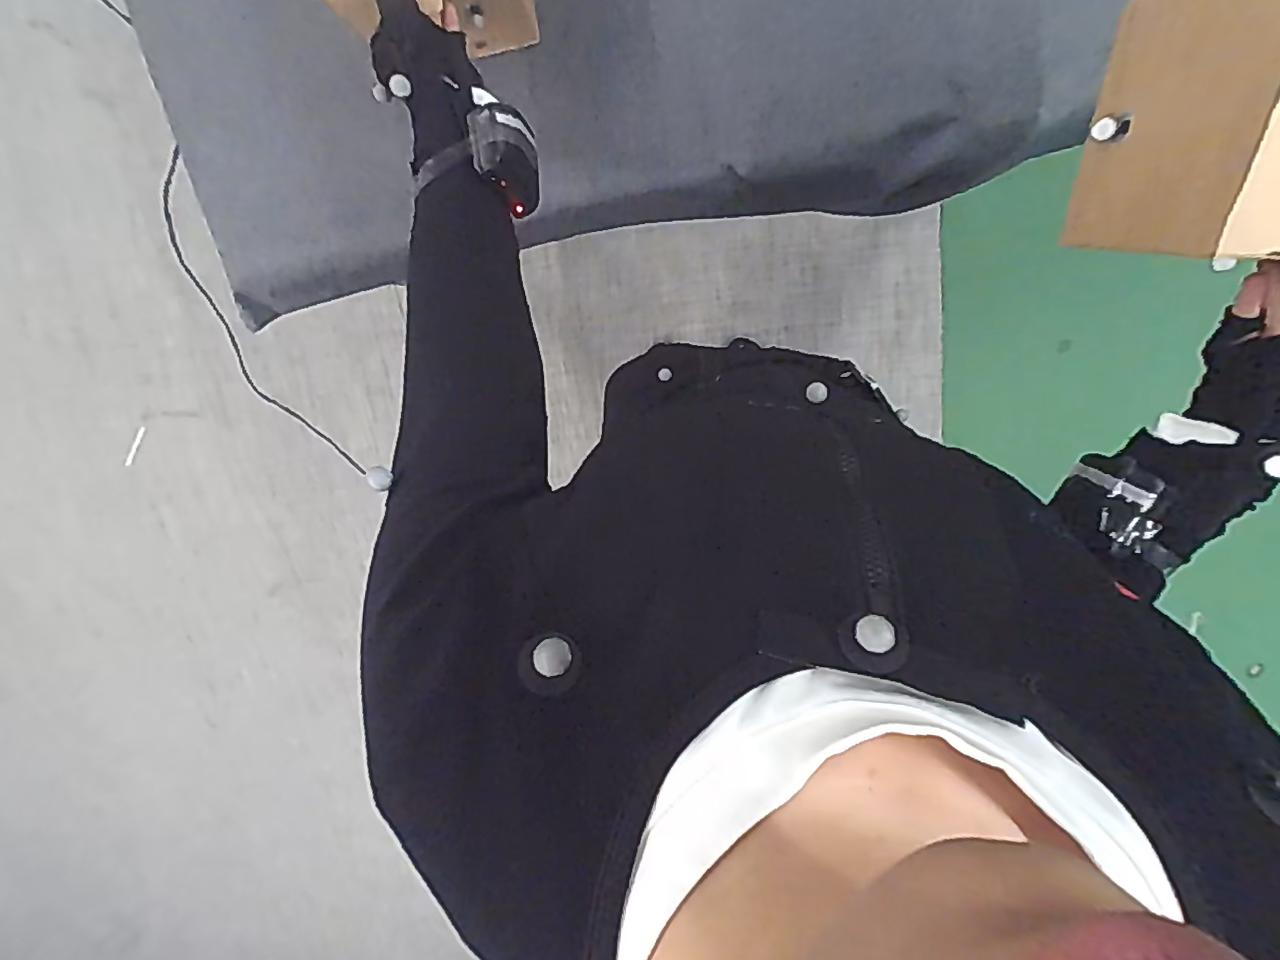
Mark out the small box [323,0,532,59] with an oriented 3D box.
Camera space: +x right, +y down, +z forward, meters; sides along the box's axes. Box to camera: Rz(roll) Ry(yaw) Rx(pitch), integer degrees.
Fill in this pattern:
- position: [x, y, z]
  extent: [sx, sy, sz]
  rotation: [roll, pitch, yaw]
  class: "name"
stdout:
- position: [-0.210, -0.529, 0.500]
  extent: [0.168, 0.176, 0.179]
  rotation: [-10, 105, 4]
  class: "small box"
